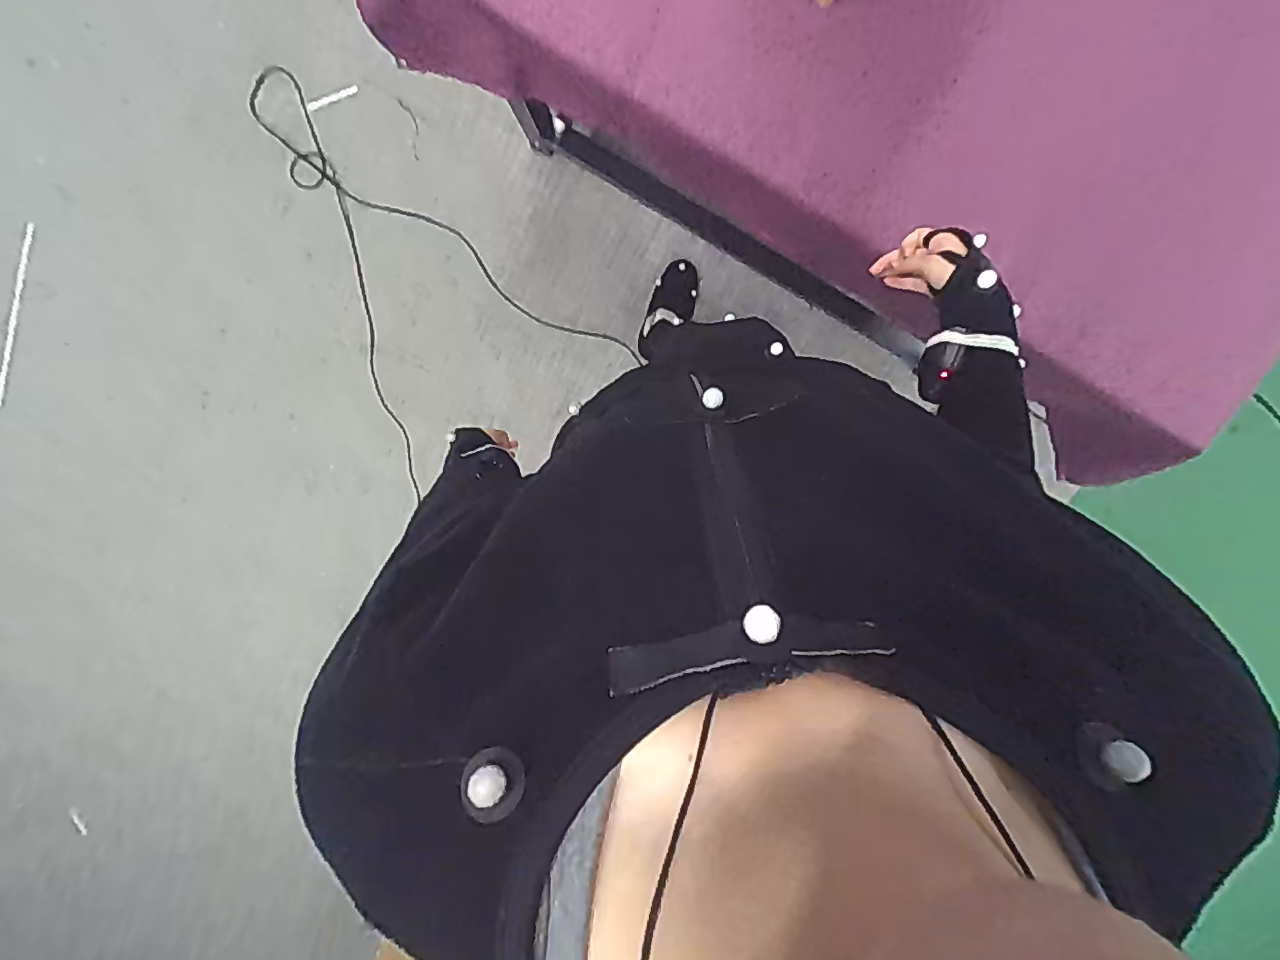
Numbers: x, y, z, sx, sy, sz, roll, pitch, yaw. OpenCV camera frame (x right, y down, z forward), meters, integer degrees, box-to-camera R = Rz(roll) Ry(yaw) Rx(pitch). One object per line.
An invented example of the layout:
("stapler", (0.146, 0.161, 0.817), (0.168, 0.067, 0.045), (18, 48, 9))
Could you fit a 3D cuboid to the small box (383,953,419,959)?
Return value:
("small box", (-0.775, 1.646, 1.703), (0.179, 0.176, 0.168), (24, 104, -9))
